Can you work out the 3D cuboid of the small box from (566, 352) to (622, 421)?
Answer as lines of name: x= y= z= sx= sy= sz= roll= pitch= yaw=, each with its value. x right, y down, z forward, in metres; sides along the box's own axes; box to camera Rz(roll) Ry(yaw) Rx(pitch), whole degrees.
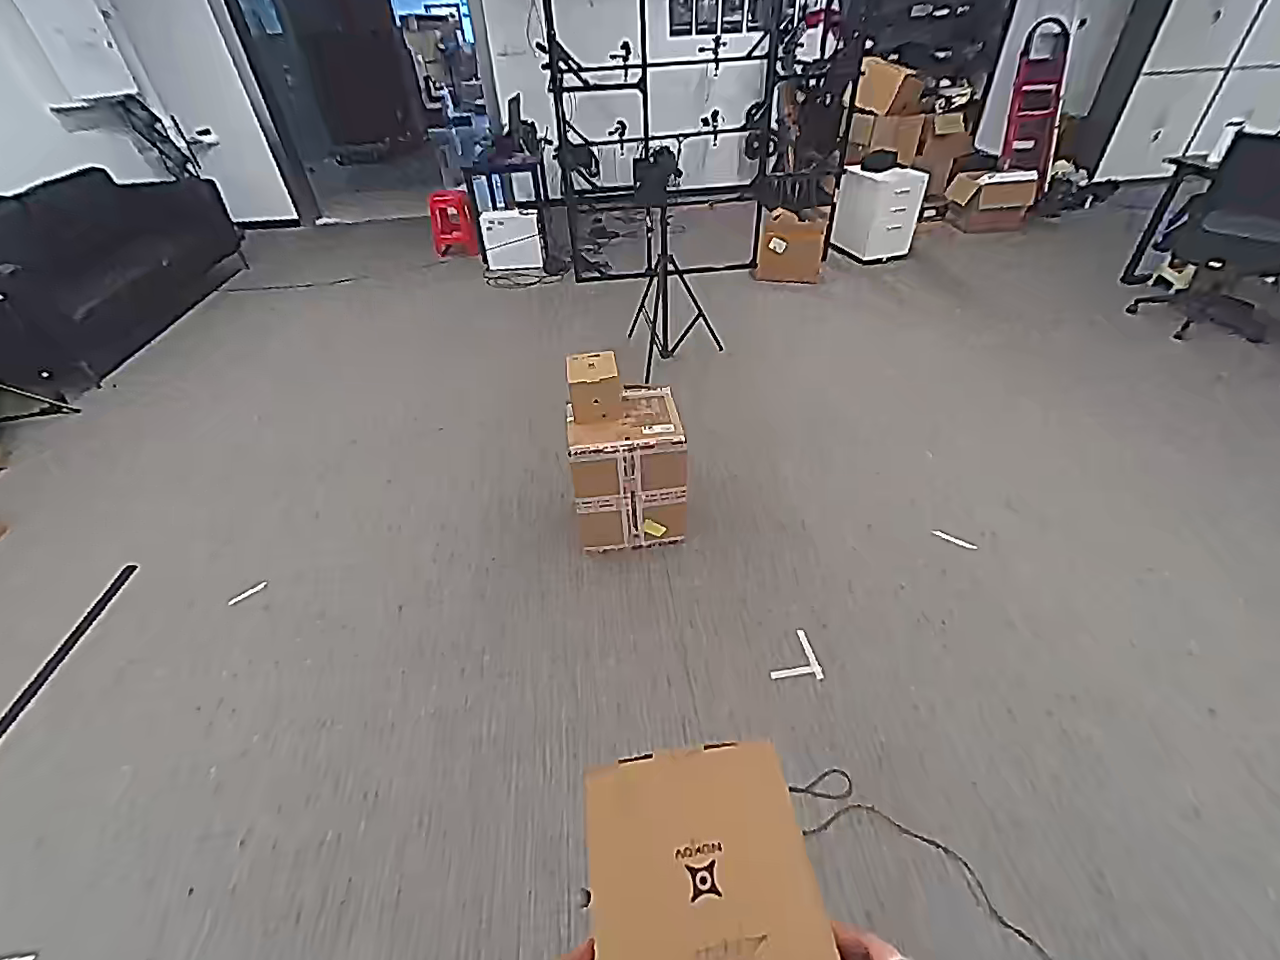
small box: x=-0.157 y=-0.315 z=1.860 sx=0.168 sy=0.176 sz=0.179 roll=-8 pitch=44 yaw=-4

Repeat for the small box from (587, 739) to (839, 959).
small box: x=0.044 y=0.347 z=0.454 sx=0.168 sy=0.176 sz=0.179 roll=-6 pitch=46 yaw=-6
